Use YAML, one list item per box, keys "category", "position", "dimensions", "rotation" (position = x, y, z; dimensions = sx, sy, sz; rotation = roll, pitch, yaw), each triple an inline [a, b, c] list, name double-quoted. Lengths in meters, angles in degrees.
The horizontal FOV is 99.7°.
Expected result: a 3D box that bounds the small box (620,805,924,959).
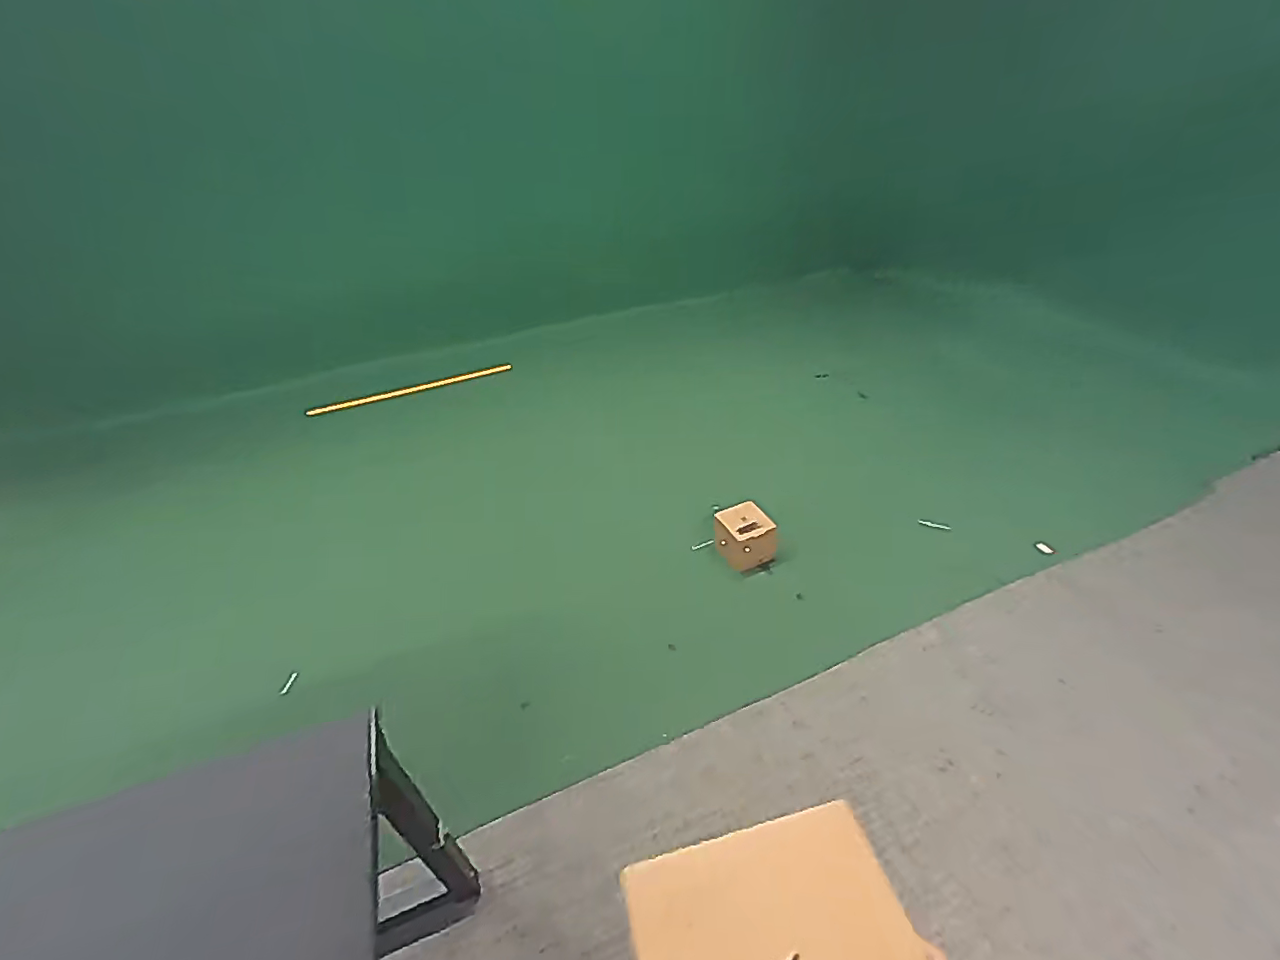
- category: "small box"
  position: [0.090, 0.356, 0.344]
  dimensions: [0.168, 0.176, 0.179]
  rotation: [-13, 34, -8]
